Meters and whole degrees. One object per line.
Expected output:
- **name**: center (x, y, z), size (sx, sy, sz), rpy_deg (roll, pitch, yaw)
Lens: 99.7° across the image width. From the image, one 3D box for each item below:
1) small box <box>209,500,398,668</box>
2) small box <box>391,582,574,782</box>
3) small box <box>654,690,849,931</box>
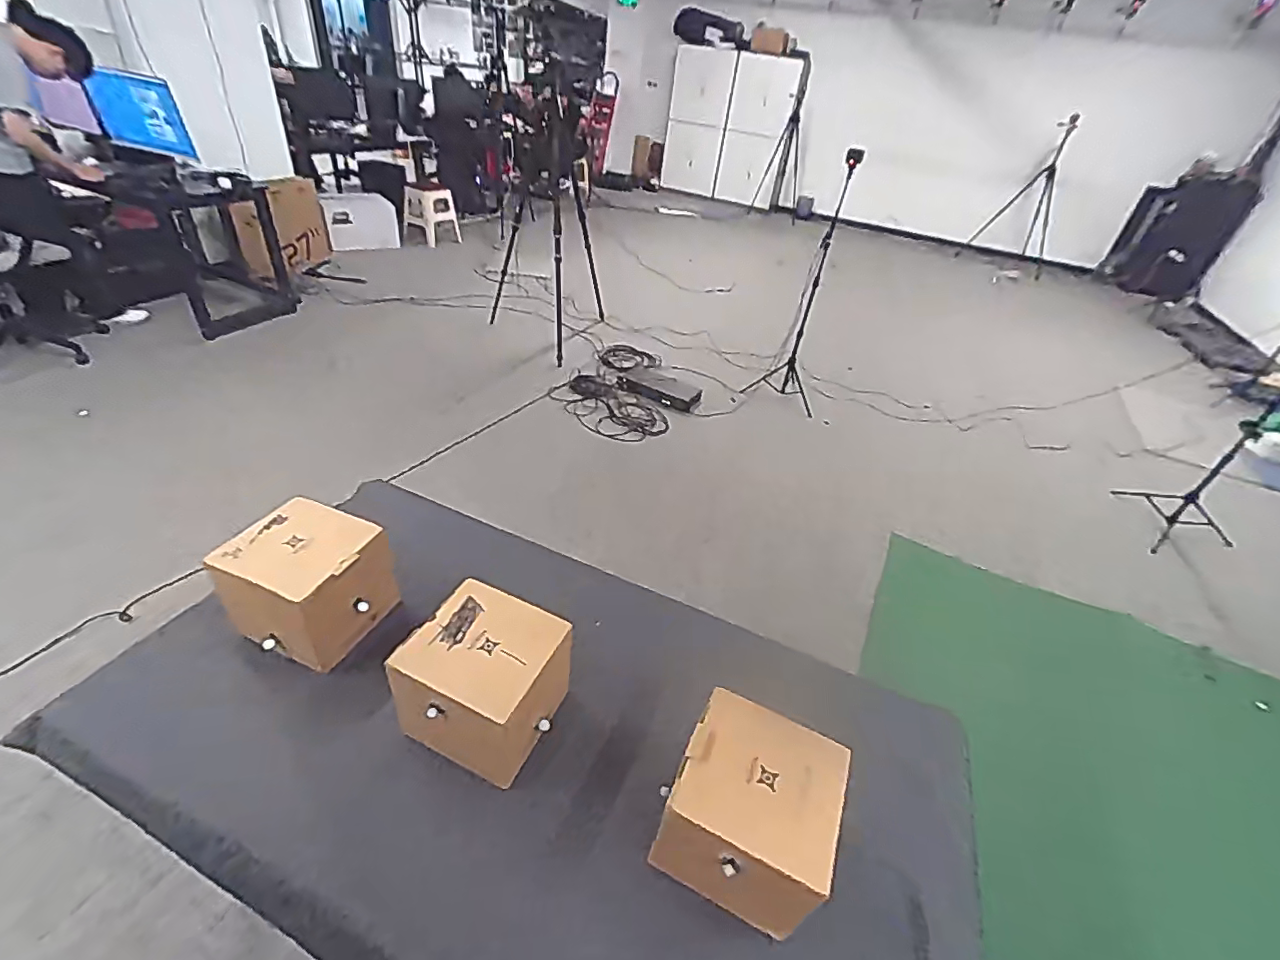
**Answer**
- **small box**: center (-0.510, 0.165, 0.850), size (0.179, 0.176, 0.168), rpy_deg (19, 37, 12)
- **small box**: center (-0.211, 0.281, 0.755), size (0.179, 0.176, 0.168), rpy_deg (20, 38, 15)
- **small box**: center (0.131, 0.404, 0.664), size (0.179, 0.176, 0.168), rpy_deg (21, 39, 15)
